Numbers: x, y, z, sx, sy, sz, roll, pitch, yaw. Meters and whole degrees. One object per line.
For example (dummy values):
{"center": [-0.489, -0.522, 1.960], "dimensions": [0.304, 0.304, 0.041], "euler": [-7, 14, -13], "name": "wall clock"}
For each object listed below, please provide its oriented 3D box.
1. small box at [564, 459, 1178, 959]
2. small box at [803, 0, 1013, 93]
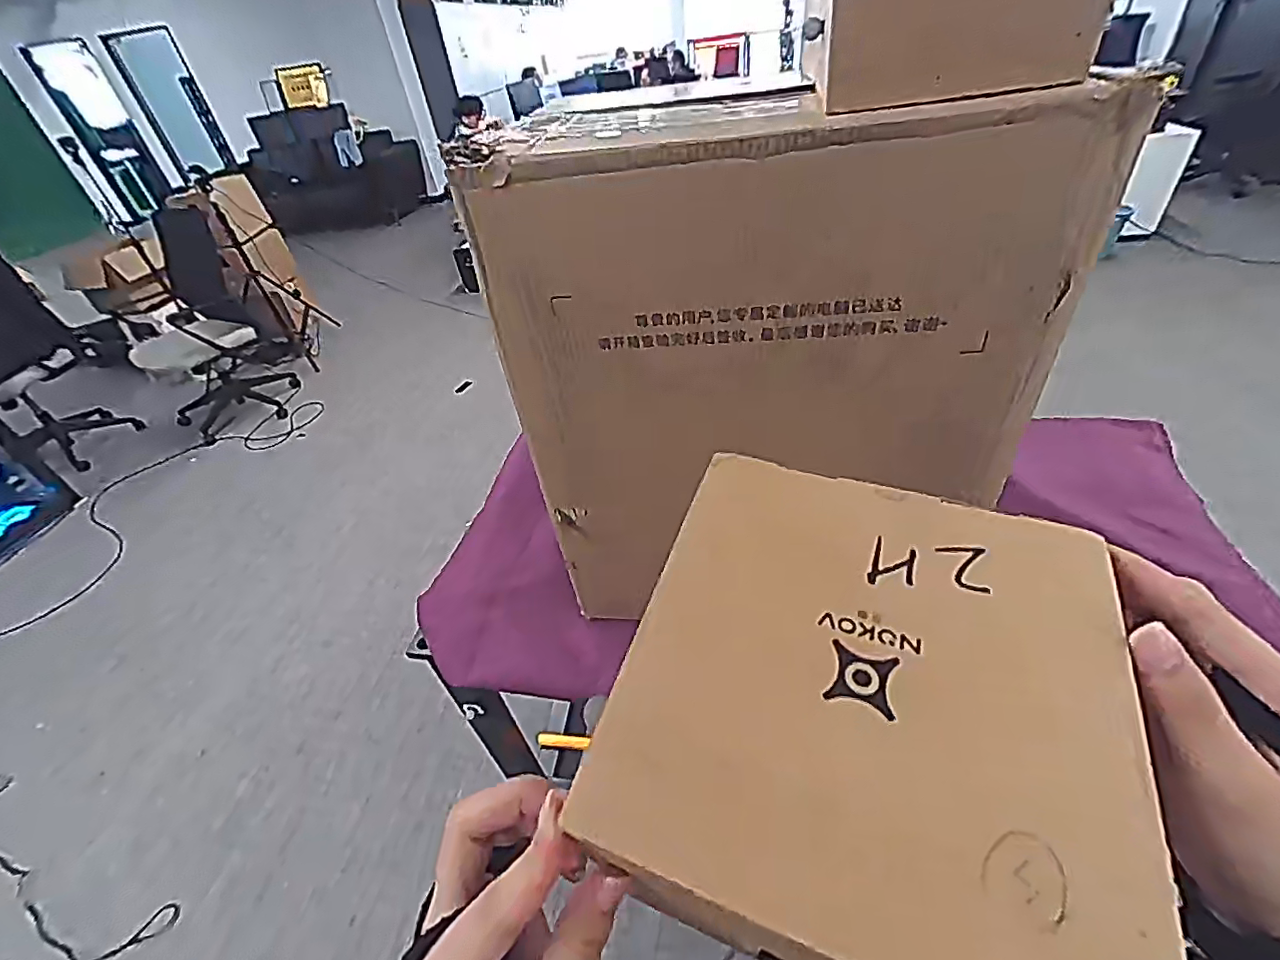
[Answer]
{"center": [0.089, 0.122, 0.253], "dimensions": [0.168, 0.176, 0.179], "euler": [14, 51, 18], "name": "small box"}
{"center": [0.258, -0.498, 0.533], "dimensions": [0.179, 0.176, 0.168], "euler": [-1, 39, 10], "name": "small box"}
